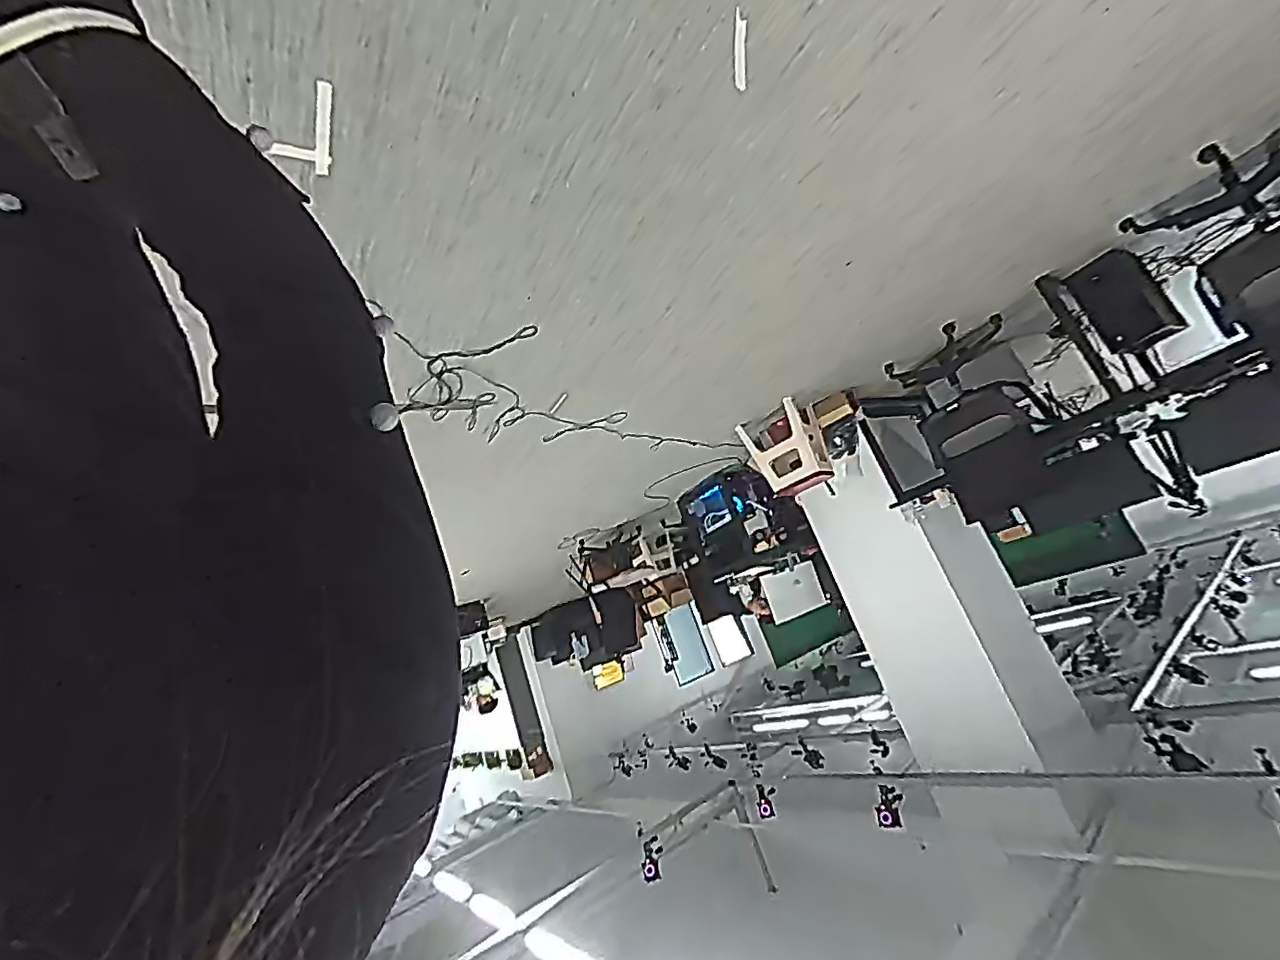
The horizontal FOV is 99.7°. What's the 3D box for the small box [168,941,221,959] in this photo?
[{"bbox_3d":[-1.385,1.549,1.646,0.179,0.176,0.168,-9,161,-37],"label":"small box"}]
